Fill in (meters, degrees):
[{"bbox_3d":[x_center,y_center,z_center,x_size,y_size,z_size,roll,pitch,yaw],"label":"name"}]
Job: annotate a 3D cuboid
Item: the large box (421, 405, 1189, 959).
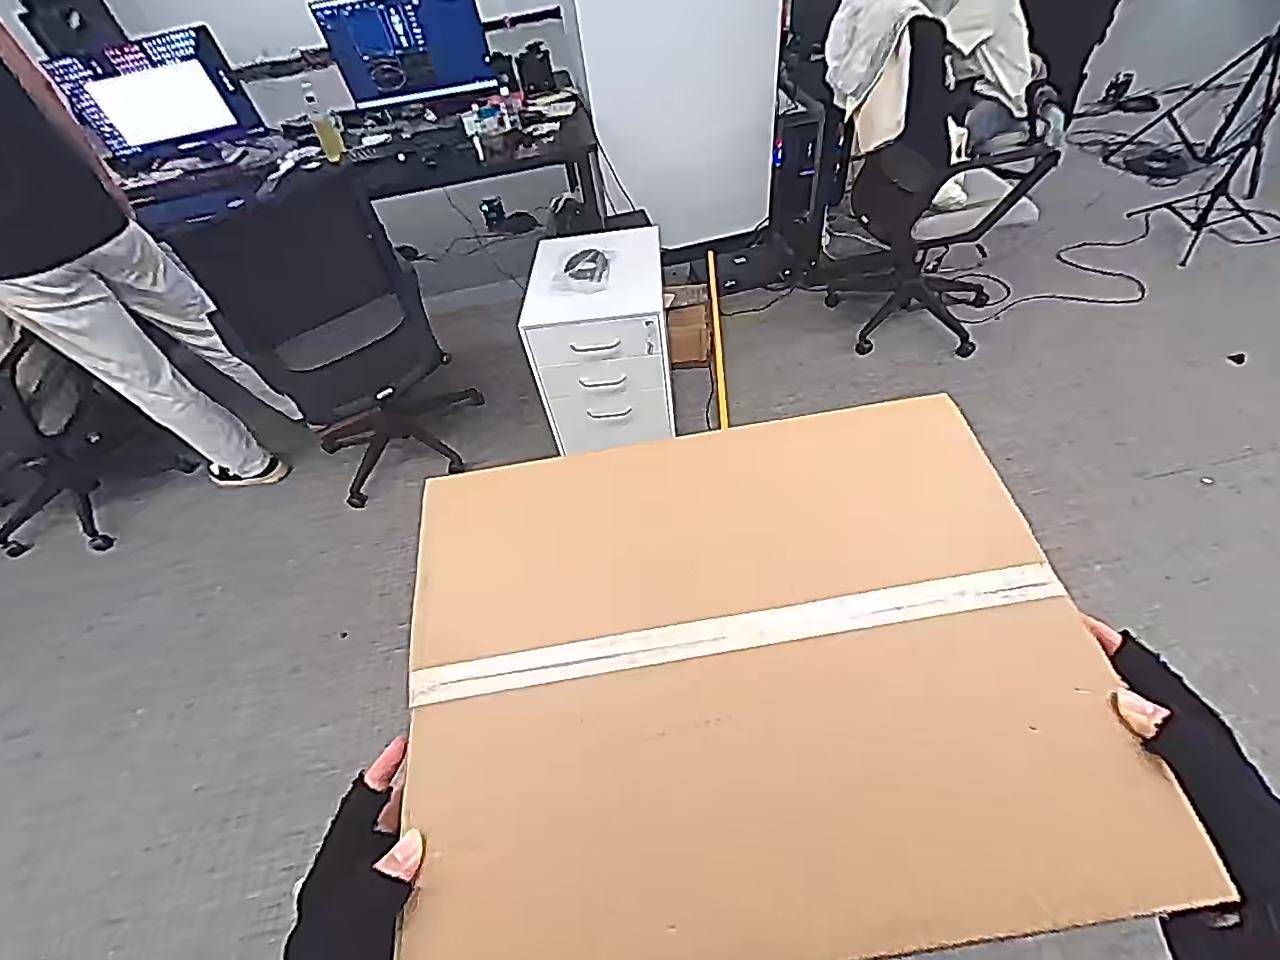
[{"bbox_3d":[0.073,0.181,0.474,0.408,0.320,0.320,-10,59,0],"label":"large box"}]
